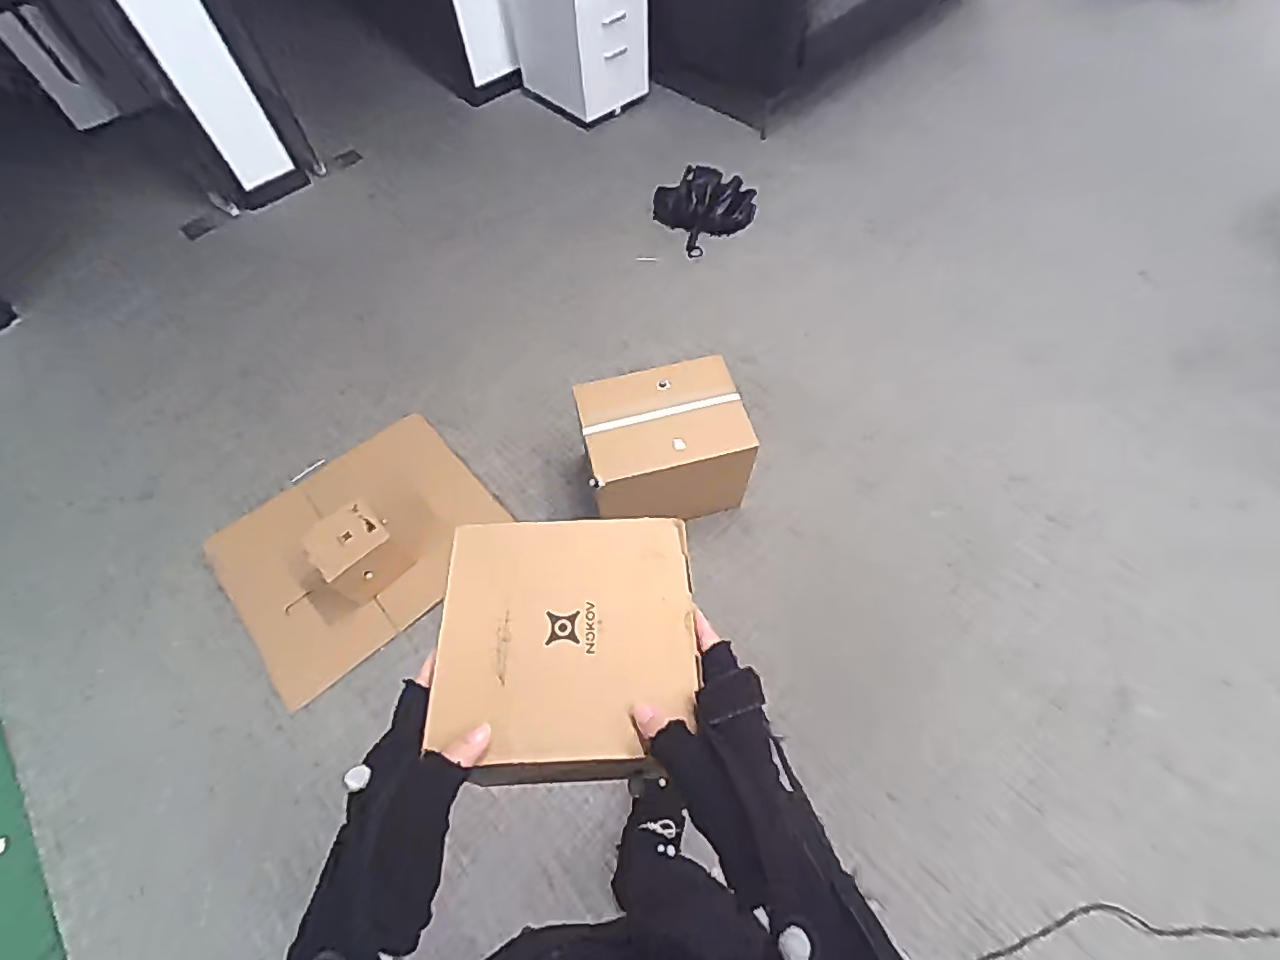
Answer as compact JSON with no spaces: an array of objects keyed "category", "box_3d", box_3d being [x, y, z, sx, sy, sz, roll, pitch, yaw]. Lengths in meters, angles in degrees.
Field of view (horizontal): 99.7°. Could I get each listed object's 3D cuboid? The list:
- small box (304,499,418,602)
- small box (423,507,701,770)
[{"category":"small box","box_3d":[-0.724,0.191,1.423,0.168,0.176,0.179,37,68,24]},{"category":"small box","box_3d":[-0.053,0.136,0.447,0.179,0.176,0.168,-3,56,-2]}]
